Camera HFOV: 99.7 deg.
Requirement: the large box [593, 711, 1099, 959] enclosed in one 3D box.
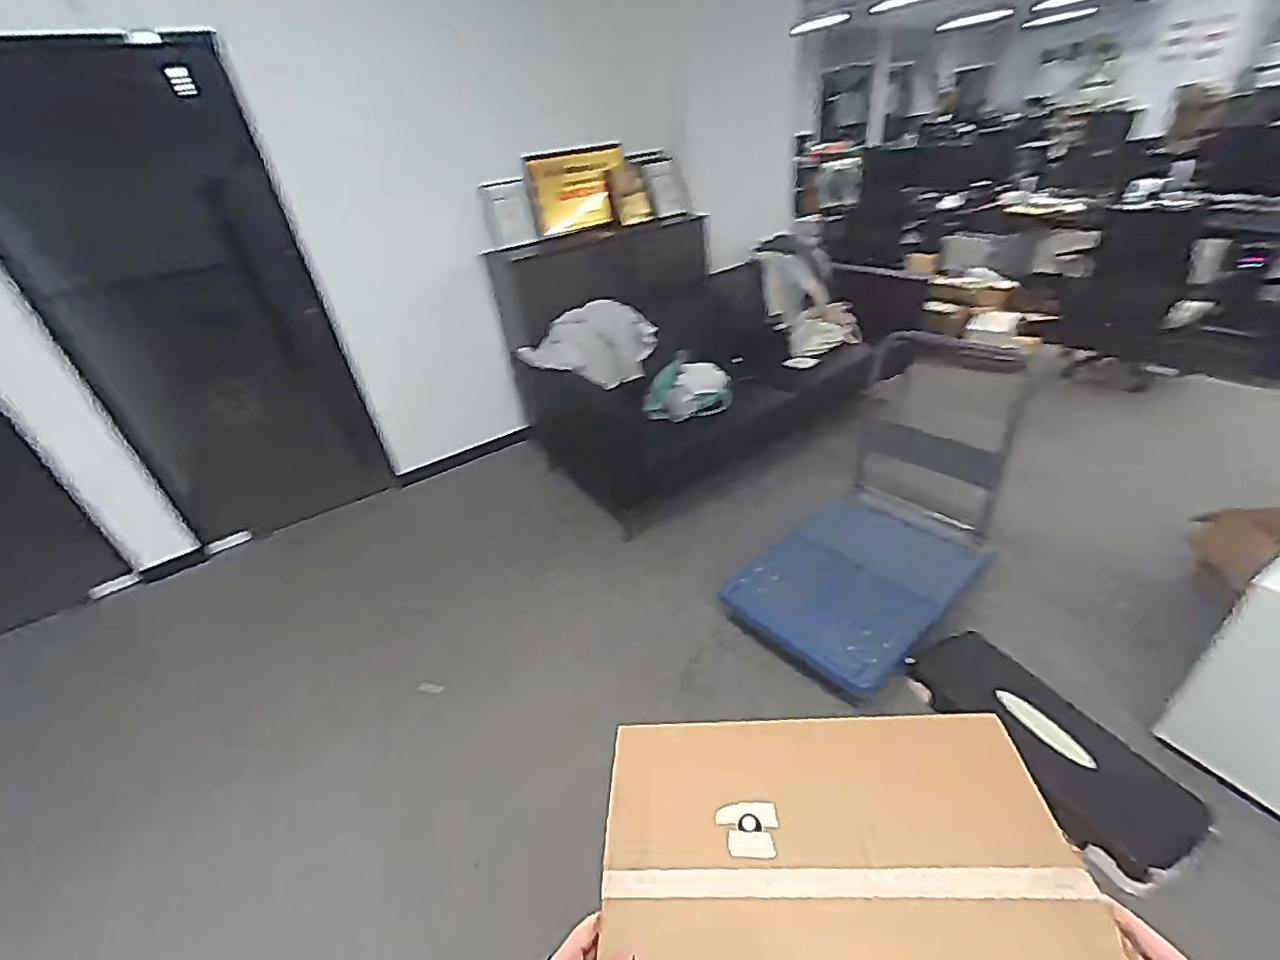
[{"bbox_3d":[0.183,0.480,0.558,0.408,0.320,0.320,-8,33,7],"label":"large box"}]
